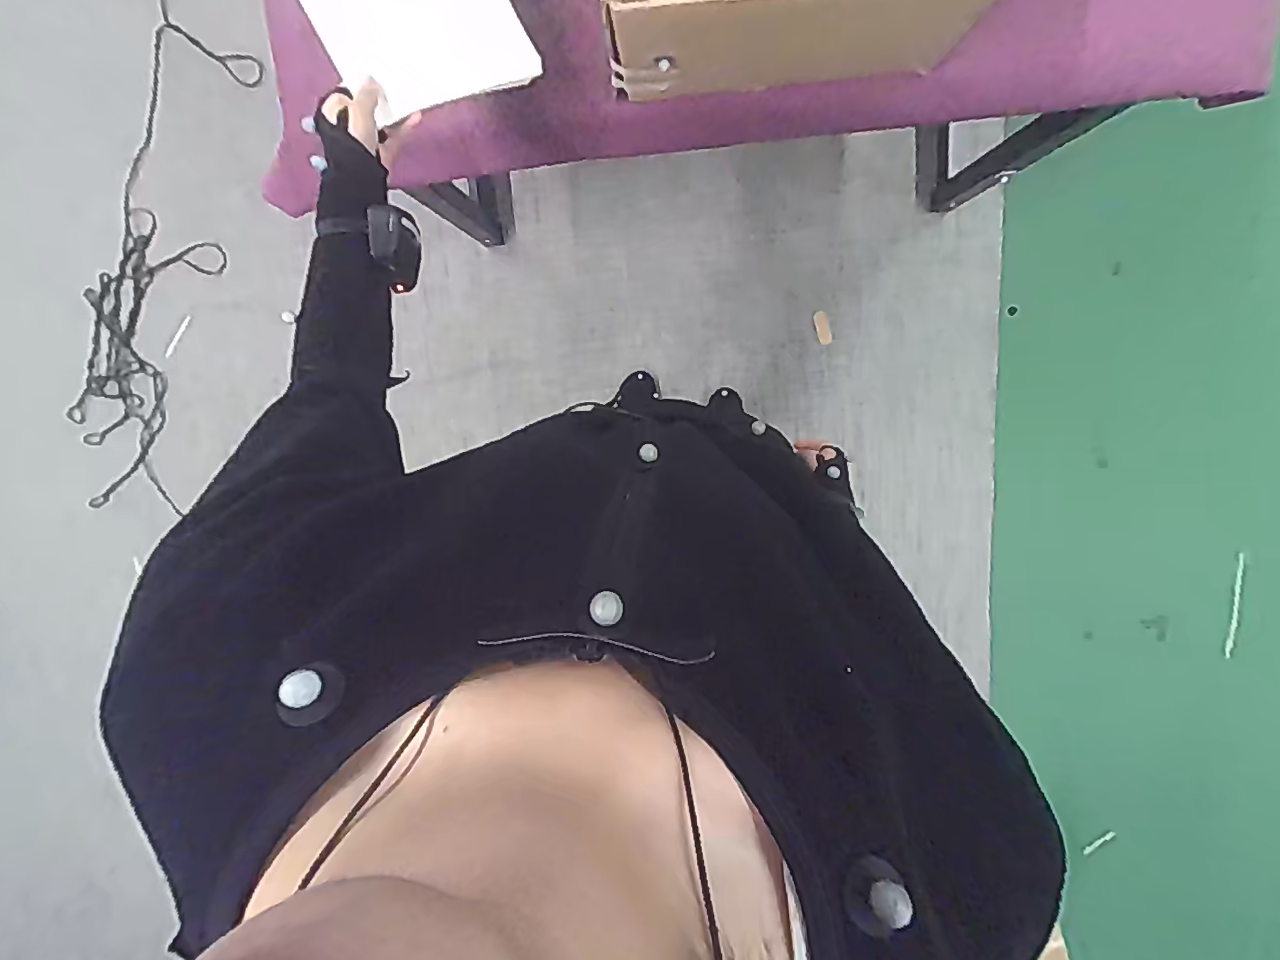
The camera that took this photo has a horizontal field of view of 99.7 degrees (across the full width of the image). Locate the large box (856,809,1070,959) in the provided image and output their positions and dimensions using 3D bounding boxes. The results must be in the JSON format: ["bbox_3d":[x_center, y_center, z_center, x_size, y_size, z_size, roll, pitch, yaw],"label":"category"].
[{"bbox_3d":[0.897,1.222,1.531,0.408,0.320,0.320,-19,100,5],"label":"large box"}]
